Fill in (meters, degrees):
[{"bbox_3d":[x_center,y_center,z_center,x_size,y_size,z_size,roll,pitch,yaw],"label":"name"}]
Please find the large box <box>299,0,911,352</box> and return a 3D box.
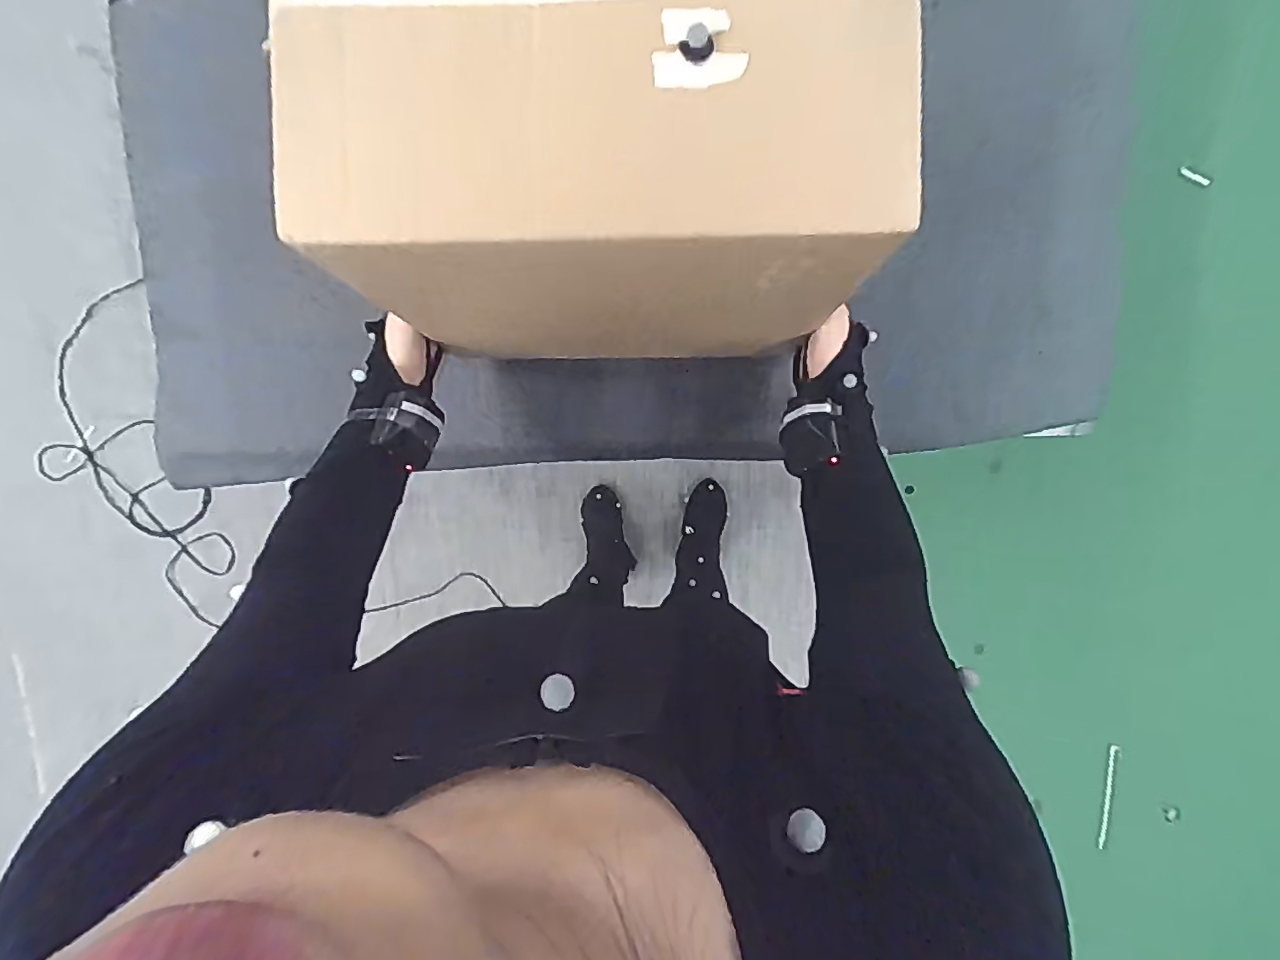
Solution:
[{"bbox_3d":[-0.025,-0.314,0.504,0.408,0.320,0.320,-1,89,1],"label":"large box"}]
